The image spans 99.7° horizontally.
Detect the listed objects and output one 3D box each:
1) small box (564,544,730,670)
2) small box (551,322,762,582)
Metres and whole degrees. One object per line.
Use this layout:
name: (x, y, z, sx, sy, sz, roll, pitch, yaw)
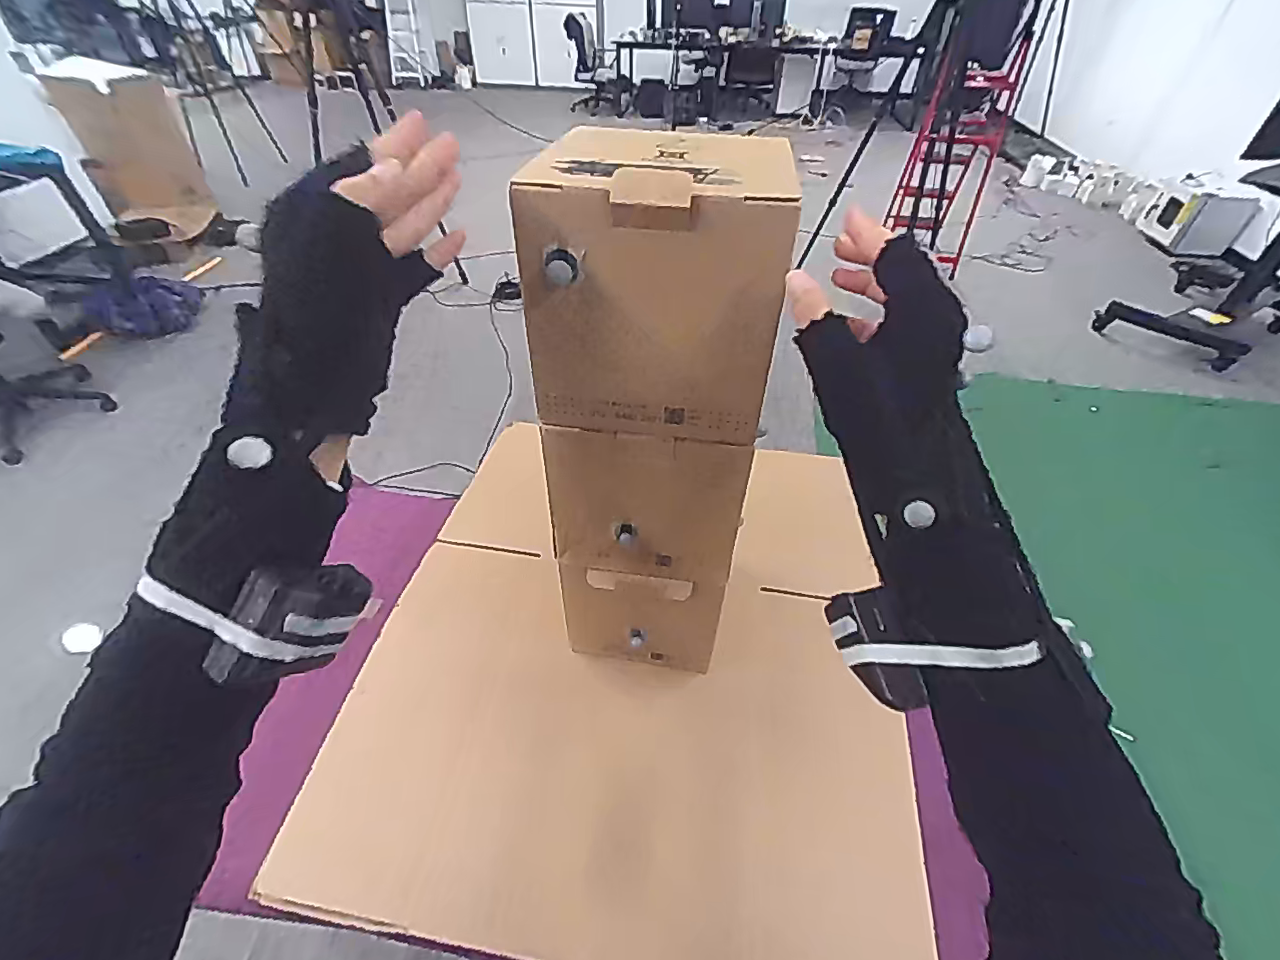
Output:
small box: (0.016, 0.091, 0.633, 0.168, 0.176, 0.179, 8, 43, 7)
small box: (0.020, -0.029, 0.523, 0.168, 0.176, 0.179, 7, 43, 5)
